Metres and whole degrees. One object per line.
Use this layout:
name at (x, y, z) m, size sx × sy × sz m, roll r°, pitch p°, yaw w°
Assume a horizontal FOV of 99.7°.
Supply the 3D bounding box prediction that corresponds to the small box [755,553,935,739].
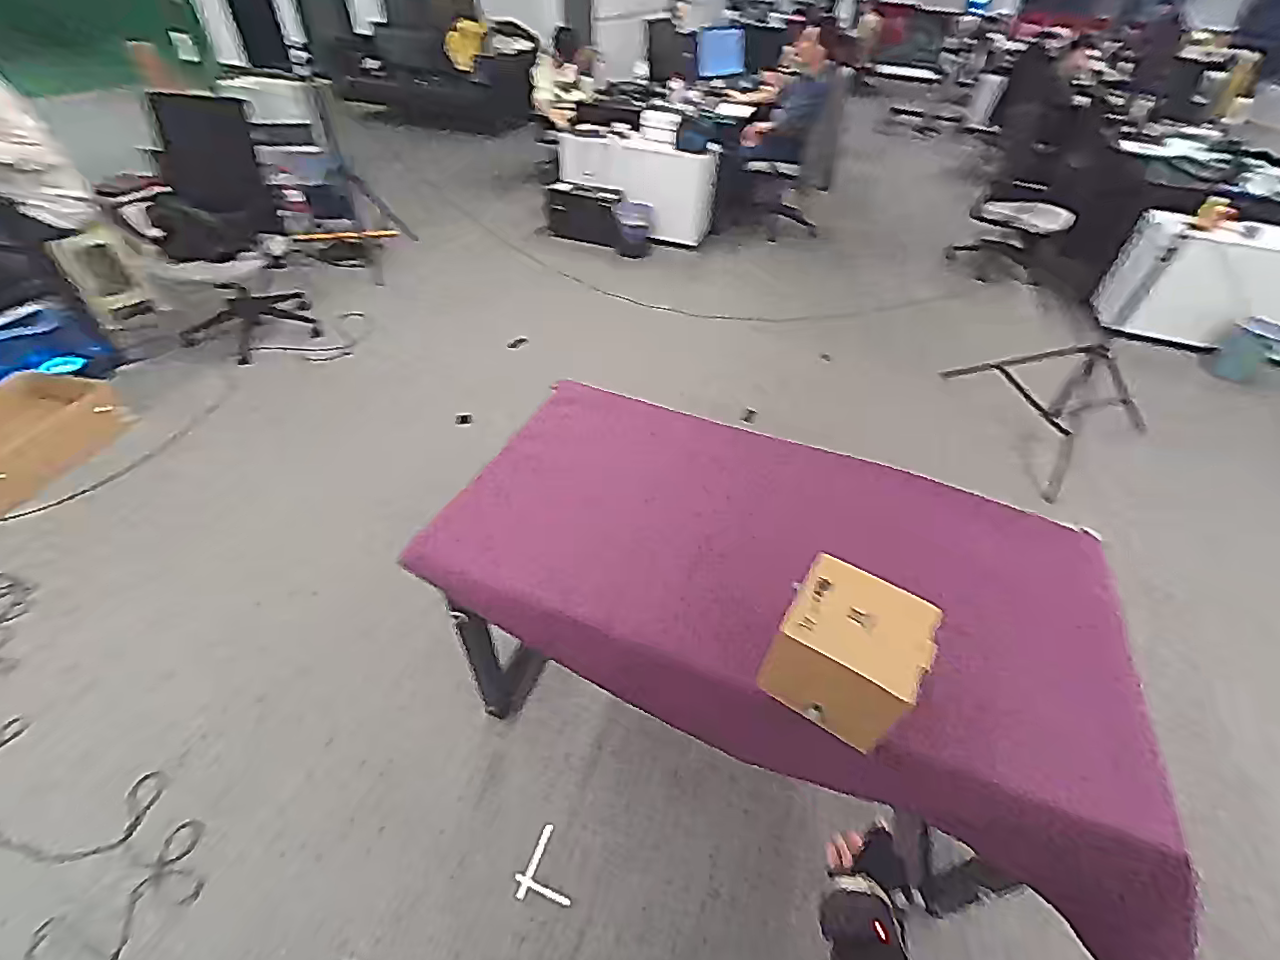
small box at (0.293, 0.248, 0.795) m, size 0.179 × 0.176 × 0.168 m, roll 27°, pitch 48°, yaw 21°
